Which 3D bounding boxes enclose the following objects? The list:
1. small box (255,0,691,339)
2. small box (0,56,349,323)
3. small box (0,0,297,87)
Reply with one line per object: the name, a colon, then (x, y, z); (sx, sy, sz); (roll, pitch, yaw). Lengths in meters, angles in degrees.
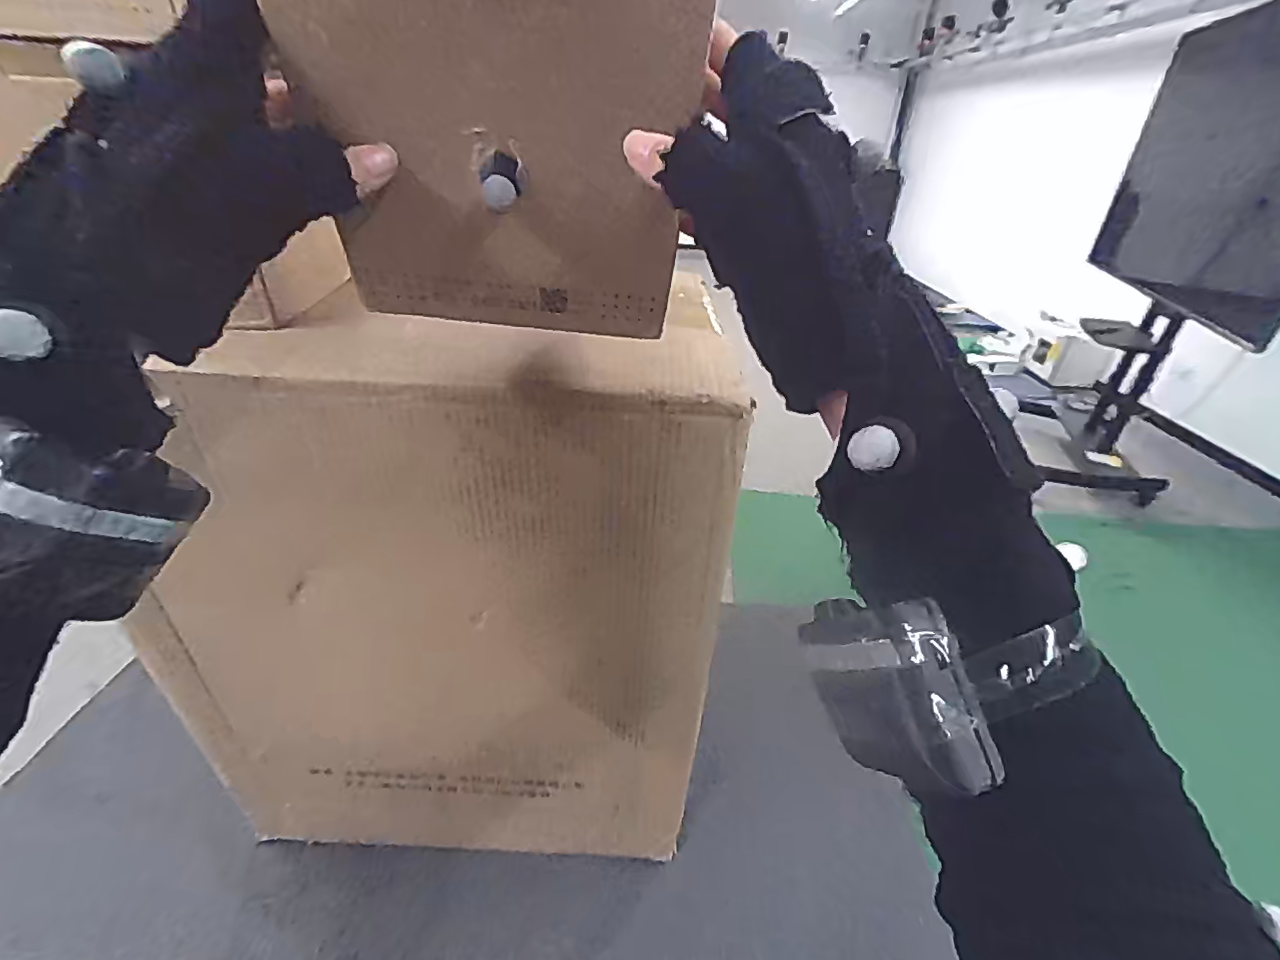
small box: (-0.062, -0.199, 0.303); (0.168, 0.176, 0.179); (4, 51, -2)
small box: (-0.352, -0.228, 0.418); (0.168, 0.176, 0.179); (-3, 36, -7)
small box: (-0.334, -0.344, 0.328); (0.179, 0.176, 0.168); (1, 34, 0)
